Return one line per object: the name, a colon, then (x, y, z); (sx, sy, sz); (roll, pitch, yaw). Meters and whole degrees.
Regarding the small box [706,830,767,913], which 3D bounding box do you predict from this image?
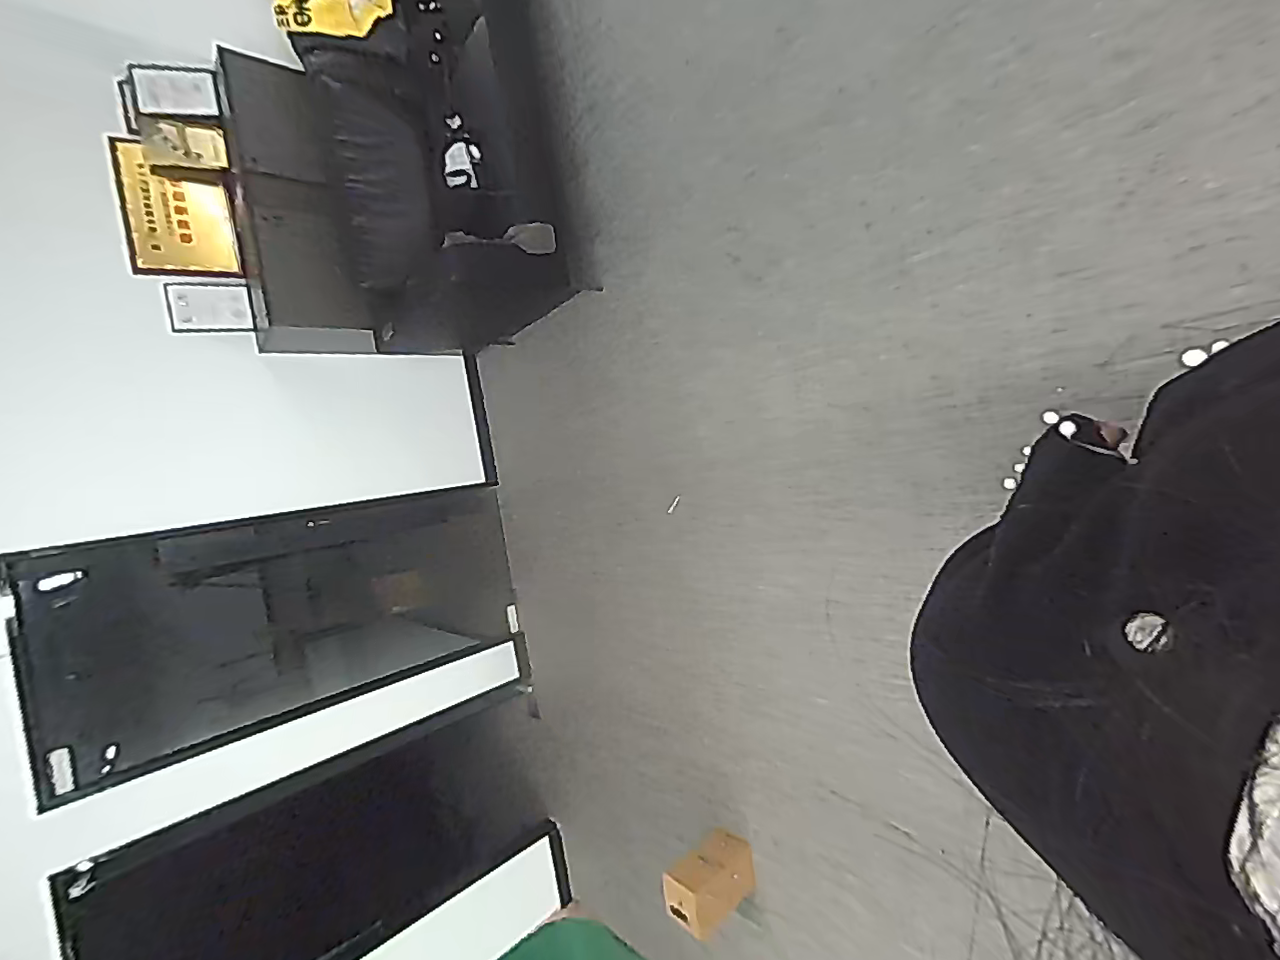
small box: (0.383, 1.532, 2.132); (0.168, 0.176, 0.179); (-1, 97, 49)
